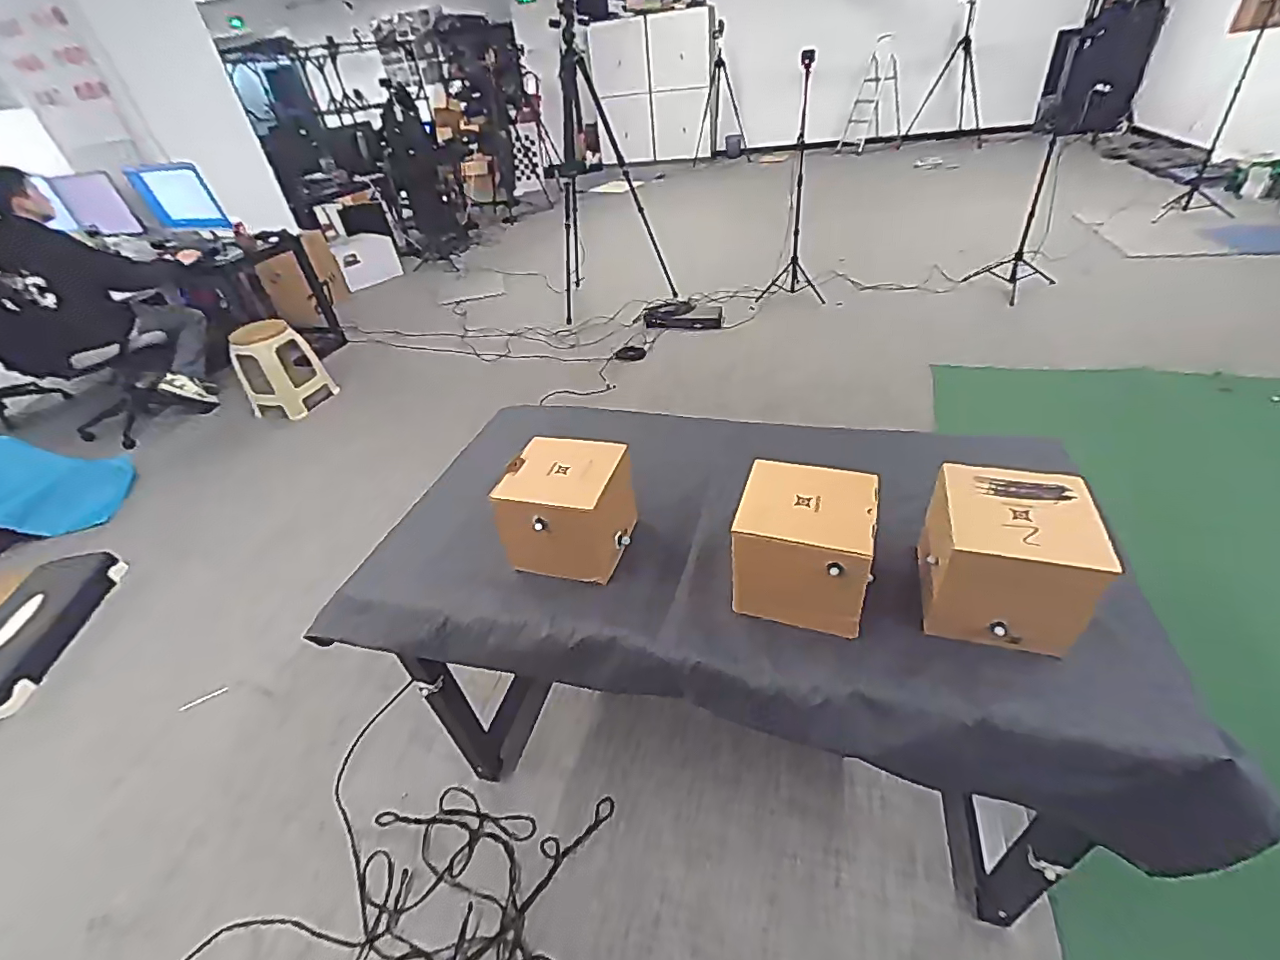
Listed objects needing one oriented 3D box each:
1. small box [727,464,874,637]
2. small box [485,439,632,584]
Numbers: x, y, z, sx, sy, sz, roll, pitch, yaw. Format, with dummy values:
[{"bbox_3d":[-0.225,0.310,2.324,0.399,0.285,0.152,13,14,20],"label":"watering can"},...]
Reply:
[{"bbox_3d":[0.228,0.099,0.778,0.179,0.176,0.168,9,40,19],"label":"small box"},{"bbox_3d":[-0.123,0.051,0.897,0.179,0.176,0.168,7,40,16],"label":"small box"}]
